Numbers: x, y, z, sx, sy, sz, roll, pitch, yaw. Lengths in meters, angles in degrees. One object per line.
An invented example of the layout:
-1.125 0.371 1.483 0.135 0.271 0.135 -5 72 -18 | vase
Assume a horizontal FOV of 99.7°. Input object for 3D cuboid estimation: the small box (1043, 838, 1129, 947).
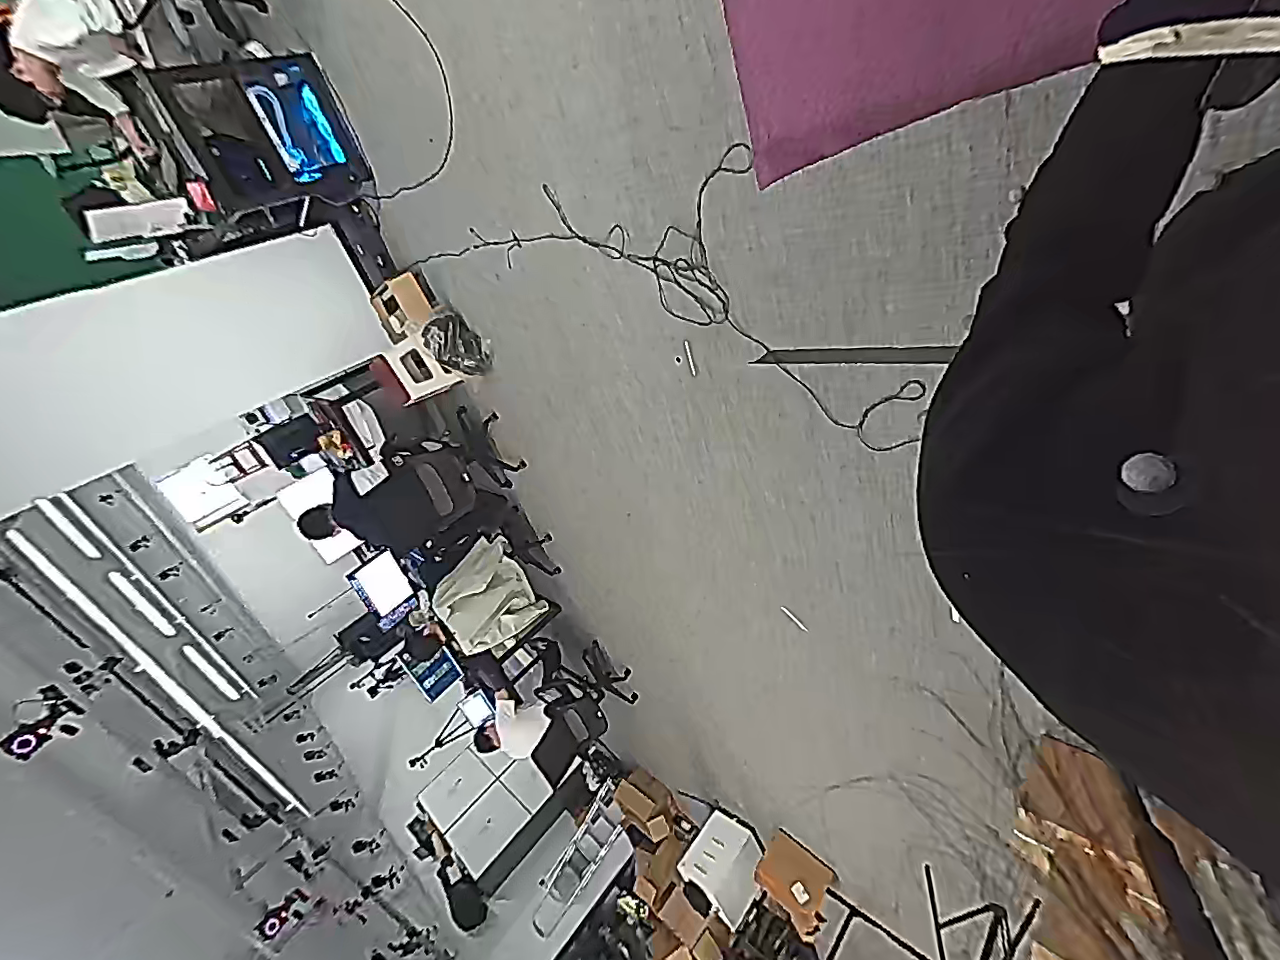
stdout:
1.353 1.241 1.640 0.179 0.176 0.168 11 129 46 | small box
